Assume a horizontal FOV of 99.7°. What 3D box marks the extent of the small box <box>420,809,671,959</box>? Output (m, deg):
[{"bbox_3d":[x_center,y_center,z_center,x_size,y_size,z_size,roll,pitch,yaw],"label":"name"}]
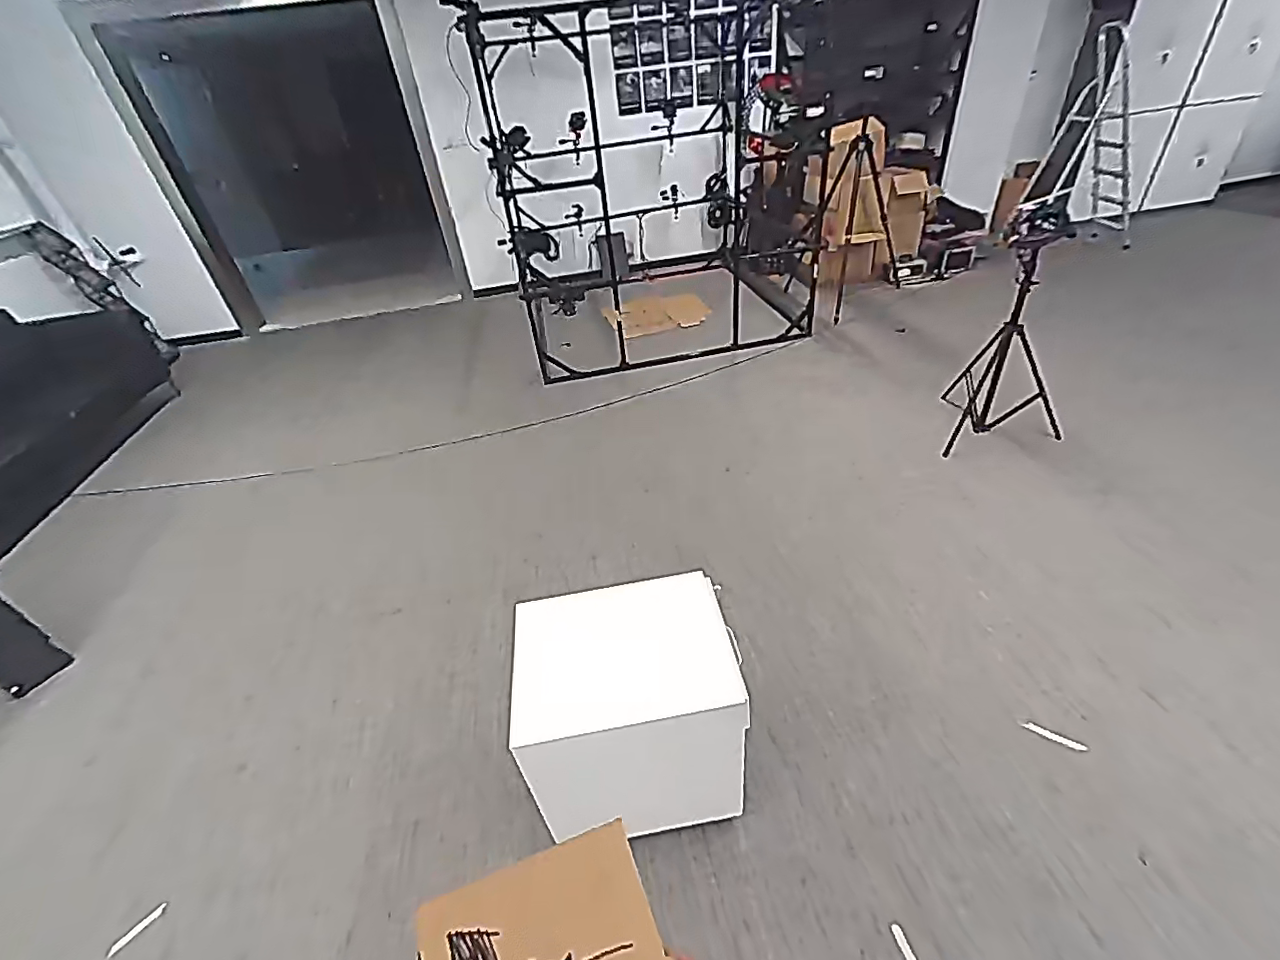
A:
[{"bbox_3d":[-0.074,0.422,0.460,0.179,0.176,0.168,-11,47,-19],"label":"small box"}]
